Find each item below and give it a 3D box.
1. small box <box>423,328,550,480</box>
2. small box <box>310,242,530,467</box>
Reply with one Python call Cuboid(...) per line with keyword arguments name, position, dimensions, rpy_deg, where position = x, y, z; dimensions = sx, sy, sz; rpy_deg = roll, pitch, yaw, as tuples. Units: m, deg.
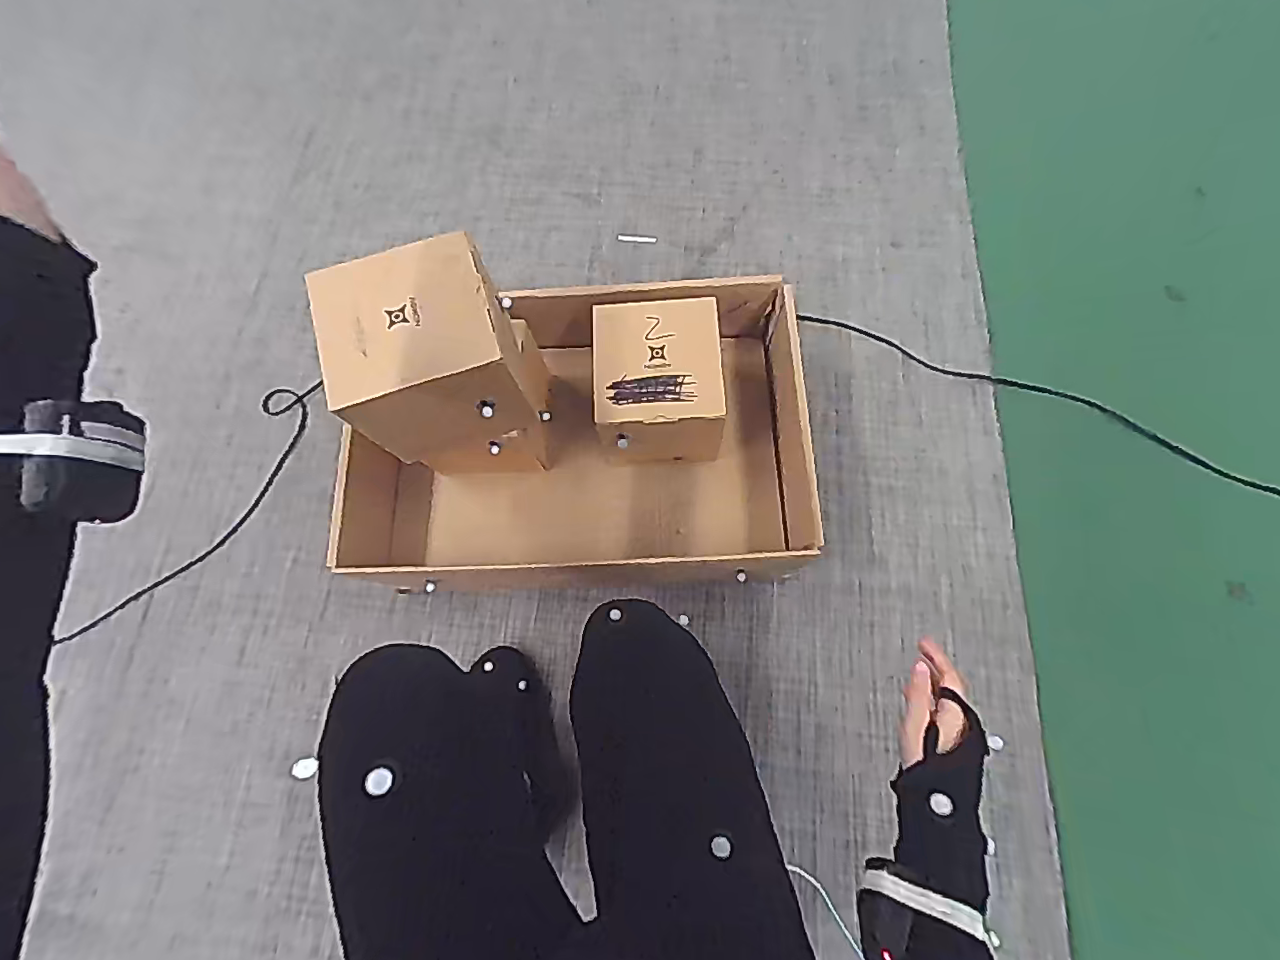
Cuboid(name="small box", position=(-0.237, -0.101, 0.784), dimensions=(0.179, 0.176, 0.168), rpy_deg=(-2, 74, 2))
Cuboid(name="small box", position=(-0.237, -0.132, 0.624), dimensions=(0.179, 0.176, 0.168), rpy_deg=(-18, 73, -2))
